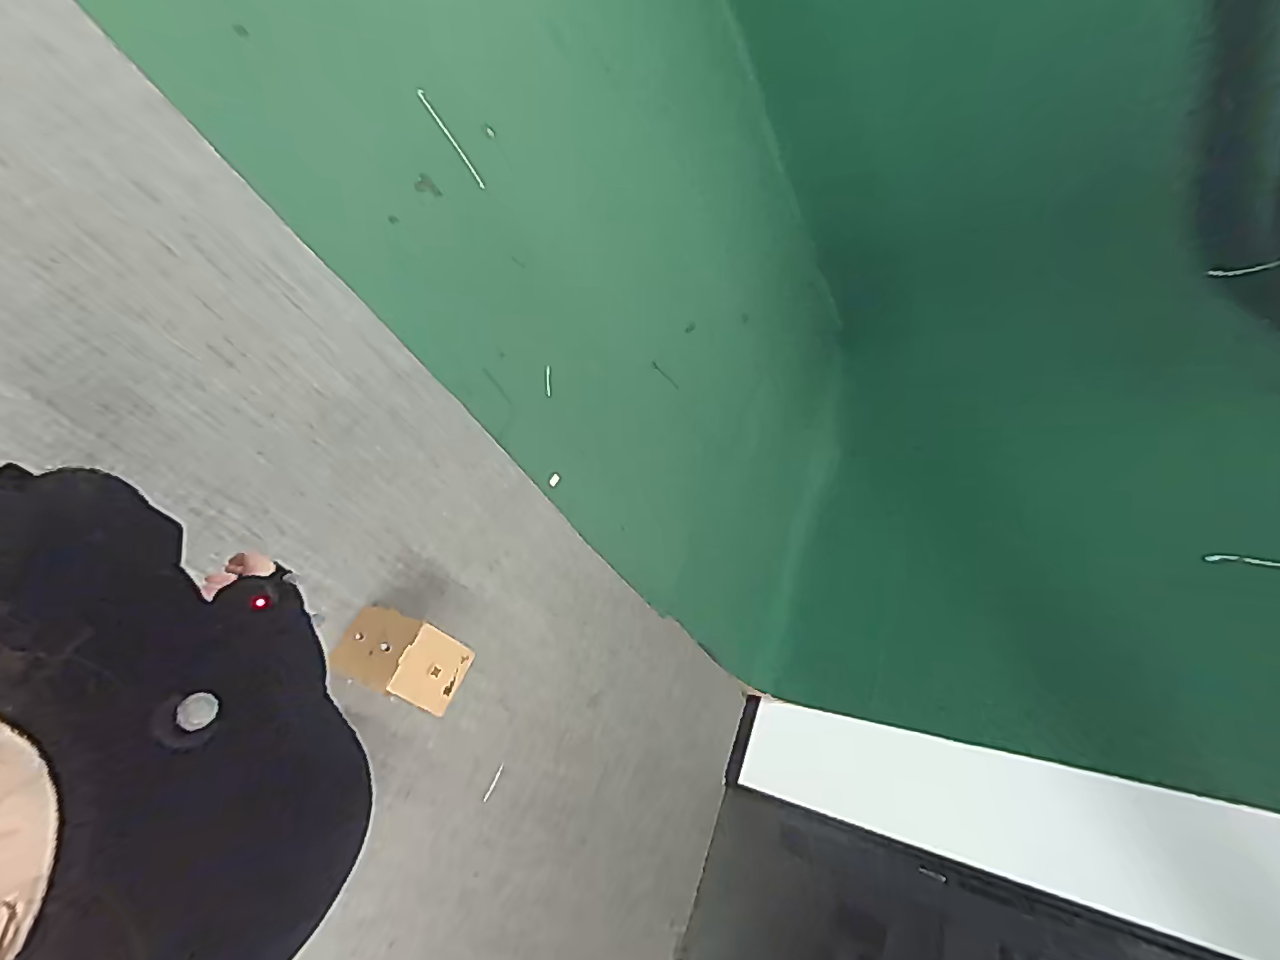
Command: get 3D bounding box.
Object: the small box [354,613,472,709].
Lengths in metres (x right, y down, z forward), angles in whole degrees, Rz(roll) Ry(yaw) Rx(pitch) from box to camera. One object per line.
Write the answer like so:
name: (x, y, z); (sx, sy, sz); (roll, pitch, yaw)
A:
small box: (-0.566, 0.444, 1.343); (0.179, 0.176, 0.168); (50, 52, -36)
